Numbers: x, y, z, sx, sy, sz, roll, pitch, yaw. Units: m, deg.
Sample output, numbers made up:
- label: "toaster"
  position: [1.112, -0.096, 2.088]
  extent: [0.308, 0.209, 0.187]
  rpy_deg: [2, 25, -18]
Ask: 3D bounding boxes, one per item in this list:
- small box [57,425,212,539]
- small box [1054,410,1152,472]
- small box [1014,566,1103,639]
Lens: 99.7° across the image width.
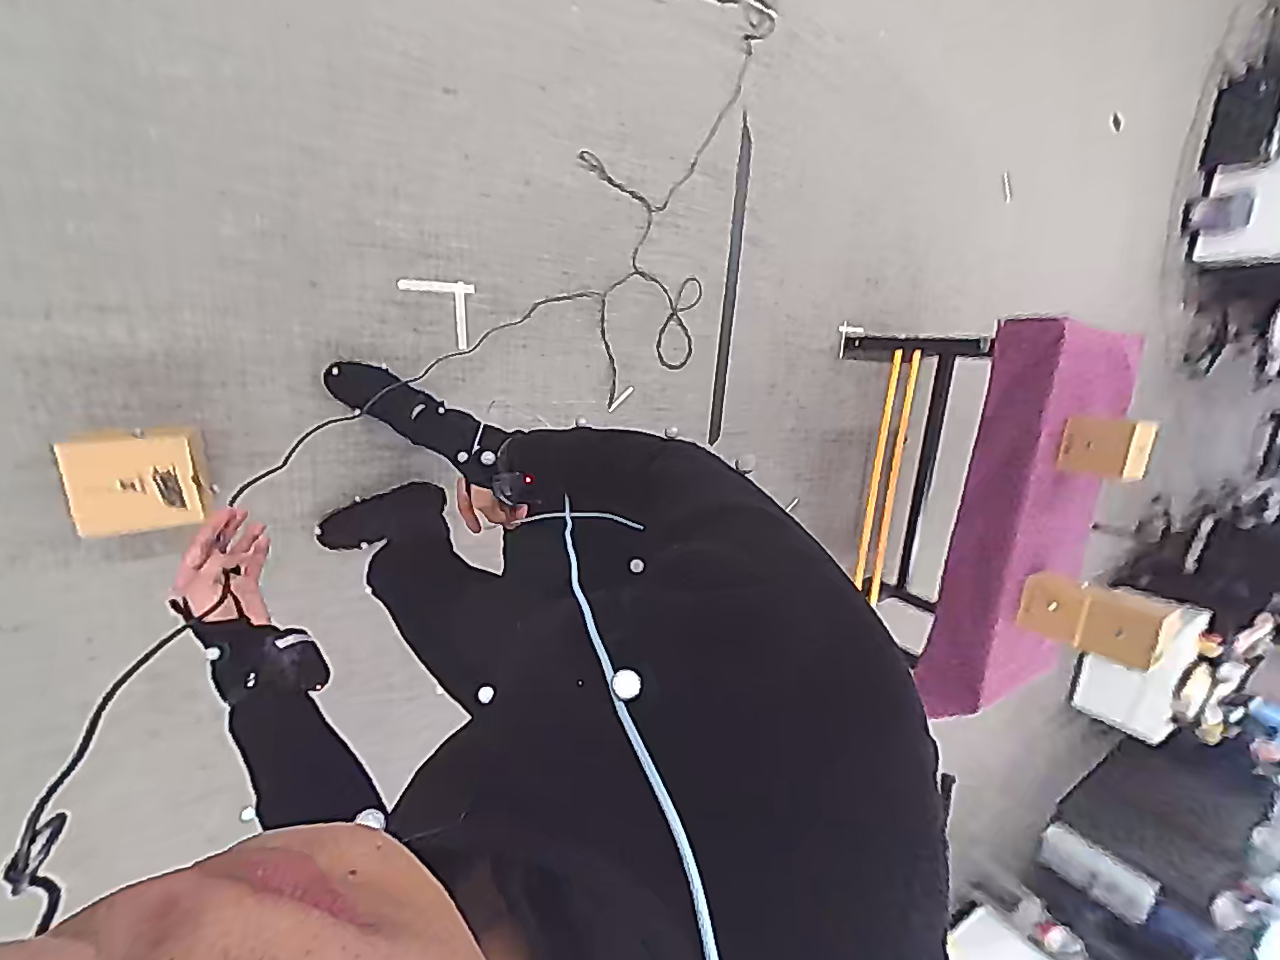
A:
- label: "small box"
  position: [-0.929, -0.006, 1.016]
  extent: [0.179, 0.176, 0.168]
  rpy_deg: [-9, 108, -31]
- label: "small box"
  position: [1.393, -0.118, 1.635]
  extent: [0.179, 0.176, 0.168]
  rpy_deg: [-2, 104, -33]
- label: "small box"
  position: [1.340, 0.389, 1.739]
  extent: [0.179, 0.176, 0.168]
  rpy_deg: [-2, 103, -34]
